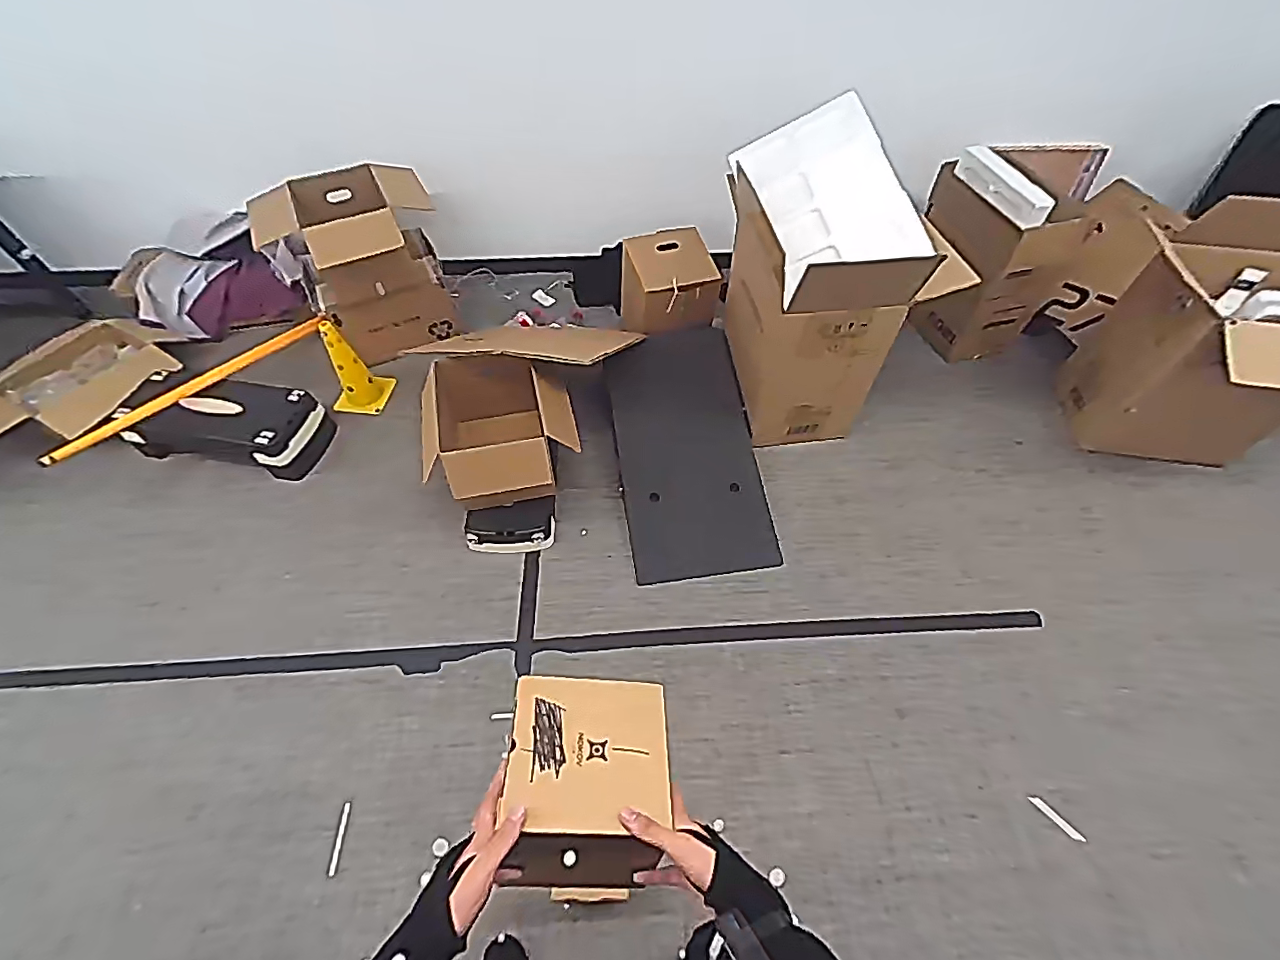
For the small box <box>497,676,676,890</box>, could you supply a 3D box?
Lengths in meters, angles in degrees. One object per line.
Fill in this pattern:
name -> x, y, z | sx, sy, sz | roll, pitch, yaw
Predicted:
small box -> -0.064, 0.351, 0.625 | 0.179, 0.176, 0.168 | 7, 38, -7
